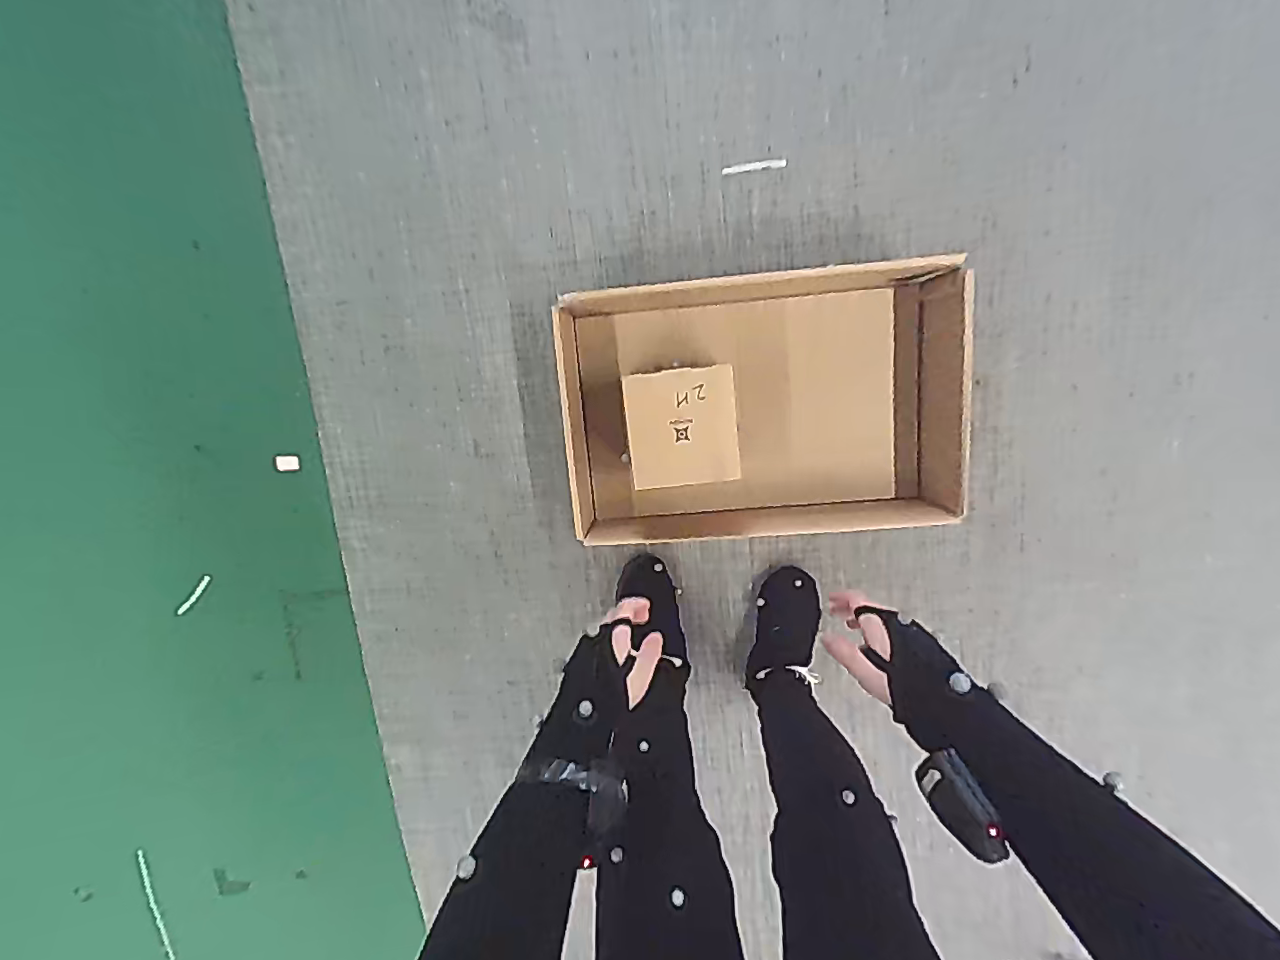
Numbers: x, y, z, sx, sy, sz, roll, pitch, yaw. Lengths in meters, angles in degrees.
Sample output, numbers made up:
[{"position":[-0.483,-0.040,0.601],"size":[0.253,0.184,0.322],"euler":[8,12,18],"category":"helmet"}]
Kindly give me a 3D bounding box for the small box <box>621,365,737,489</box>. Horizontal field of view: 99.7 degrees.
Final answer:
[{"position":[0.063,-0.092,0.881],"size":[0.168,0.176,0.179],"euler":[-5,100,3],"category":"small box"}]
